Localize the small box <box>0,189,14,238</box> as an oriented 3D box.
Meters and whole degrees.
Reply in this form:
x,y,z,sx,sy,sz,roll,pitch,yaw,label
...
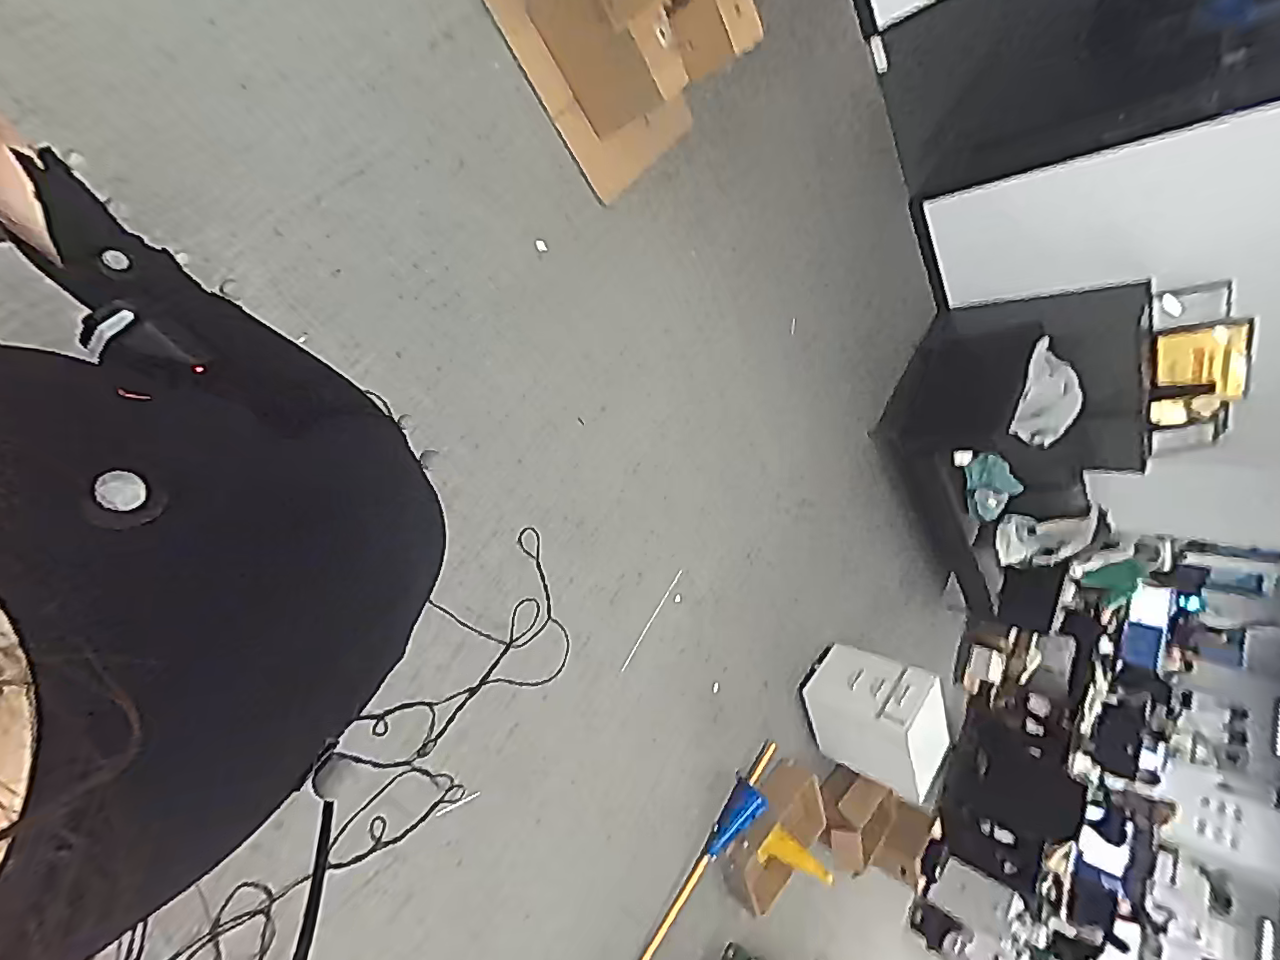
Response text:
x,y,z,sx,sy,sz,roll,pitch,yaw,label
-0.493,-0.234,0.280,0.168,0.176,0.179,-25,110,-37,small box

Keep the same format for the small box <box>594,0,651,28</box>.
x,y,z,sx,sy,sz,roll,pitch,yaw,label
-0.023,-1.302,1.365,0.179,0.176,0.168,-53,127,-23,small box

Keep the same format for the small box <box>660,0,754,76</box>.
x,y,z,sx,sy,sz,roll,pitch,yaw,label
0.191,-1.310,1.557,0.168,0.176,0.179,-51,123,-25,small box
